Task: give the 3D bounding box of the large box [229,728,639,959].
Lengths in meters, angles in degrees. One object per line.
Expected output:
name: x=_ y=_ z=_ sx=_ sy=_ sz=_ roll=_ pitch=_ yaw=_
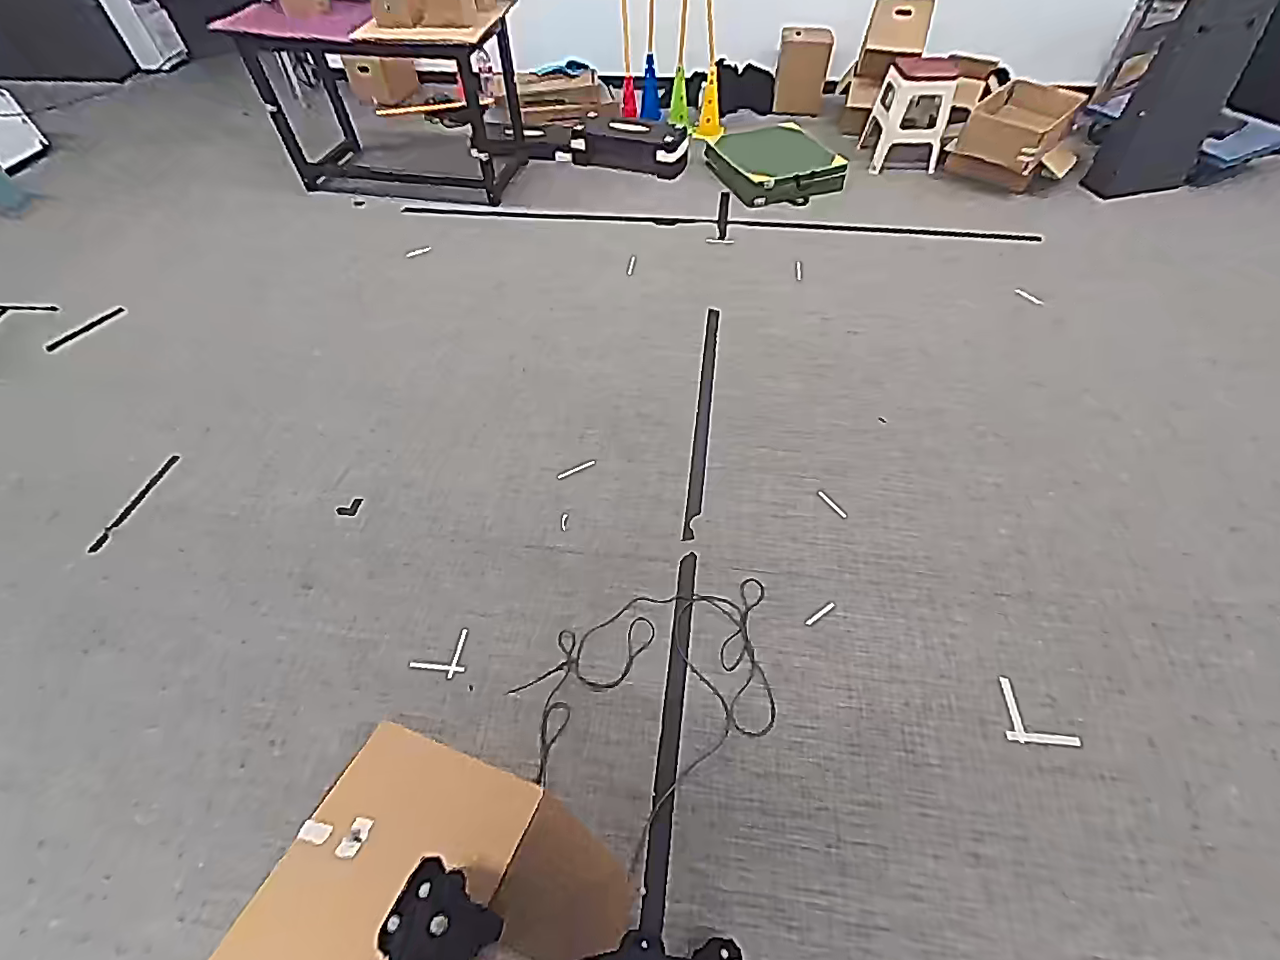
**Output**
large box: x=-0.250 y=0.622 z=0.773 sx=0.320 sy=0.408 sz=0.320 roll=5 pitch=45 yaw=30
